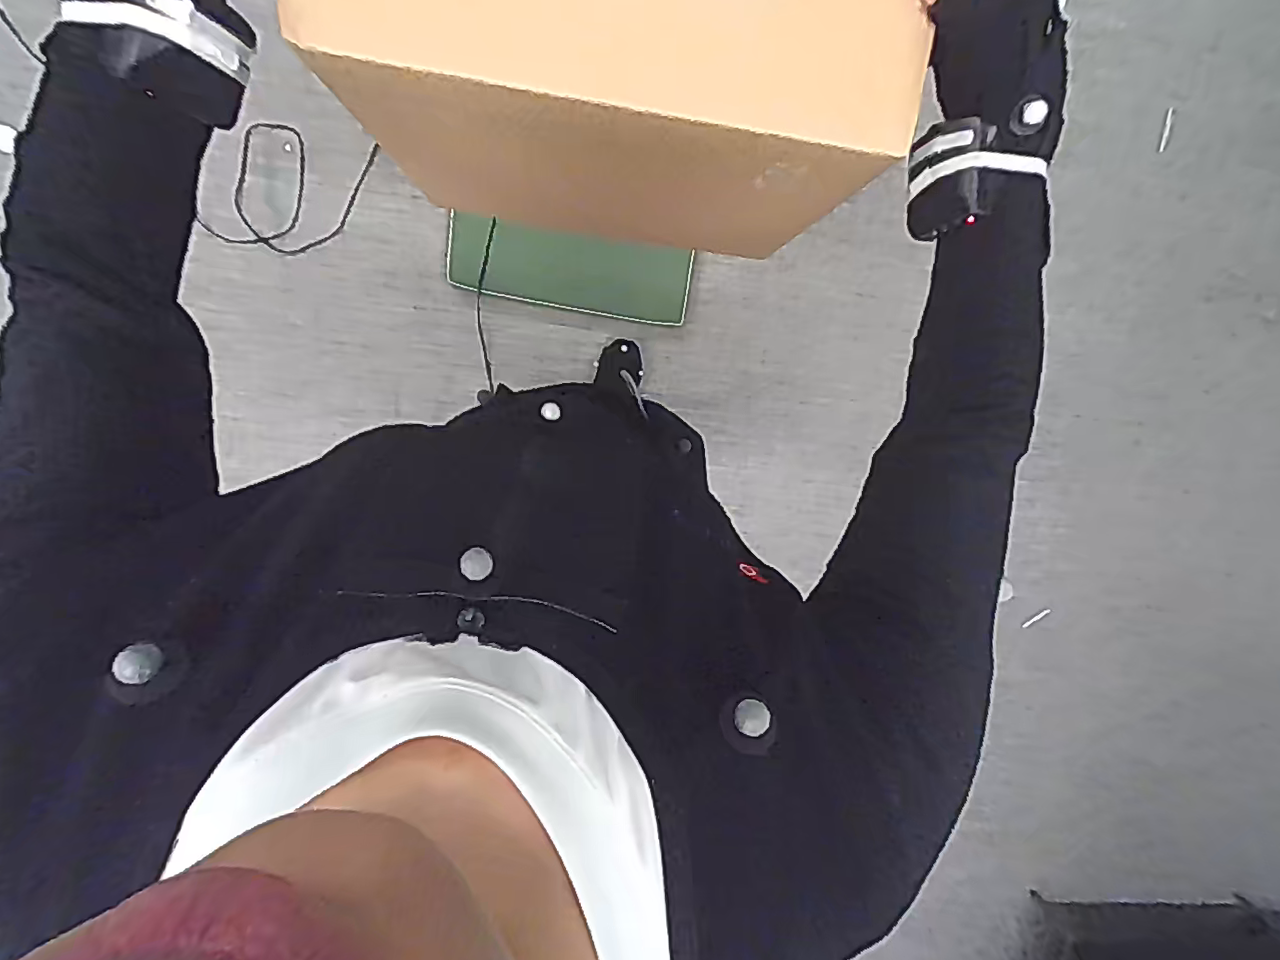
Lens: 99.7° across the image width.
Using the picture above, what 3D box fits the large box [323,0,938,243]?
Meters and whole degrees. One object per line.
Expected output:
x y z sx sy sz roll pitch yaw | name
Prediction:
-0.003 -0.431 0.478 0.408 0.320 0.320 6 101 -7 | large box
